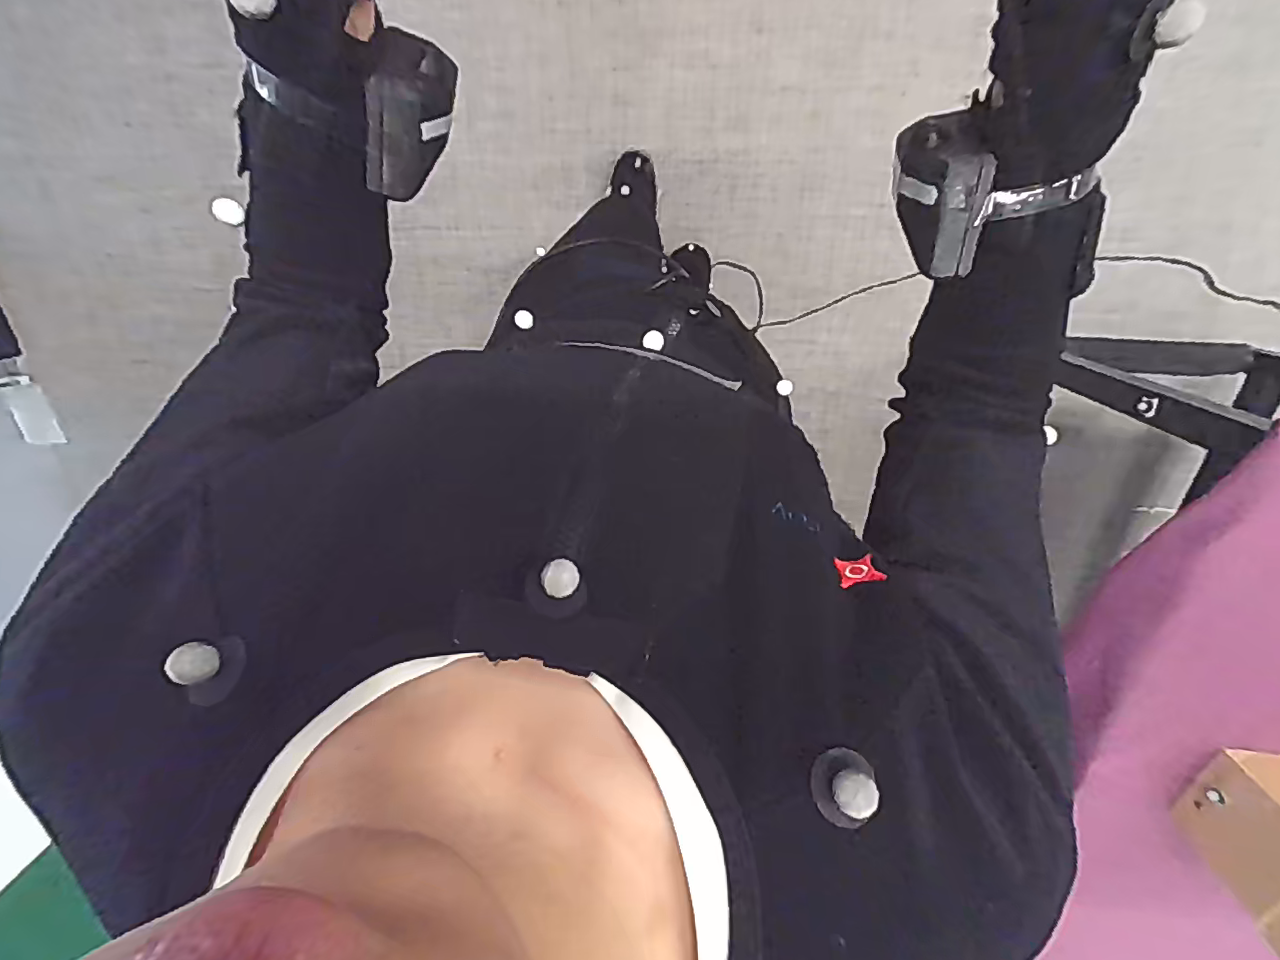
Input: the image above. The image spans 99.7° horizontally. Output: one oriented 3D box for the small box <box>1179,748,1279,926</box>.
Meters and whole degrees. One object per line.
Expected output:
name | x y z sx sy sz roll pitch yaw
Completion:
small box | 0.976 0.524 0.790 0.179 0.176 0.168 8 114 3
